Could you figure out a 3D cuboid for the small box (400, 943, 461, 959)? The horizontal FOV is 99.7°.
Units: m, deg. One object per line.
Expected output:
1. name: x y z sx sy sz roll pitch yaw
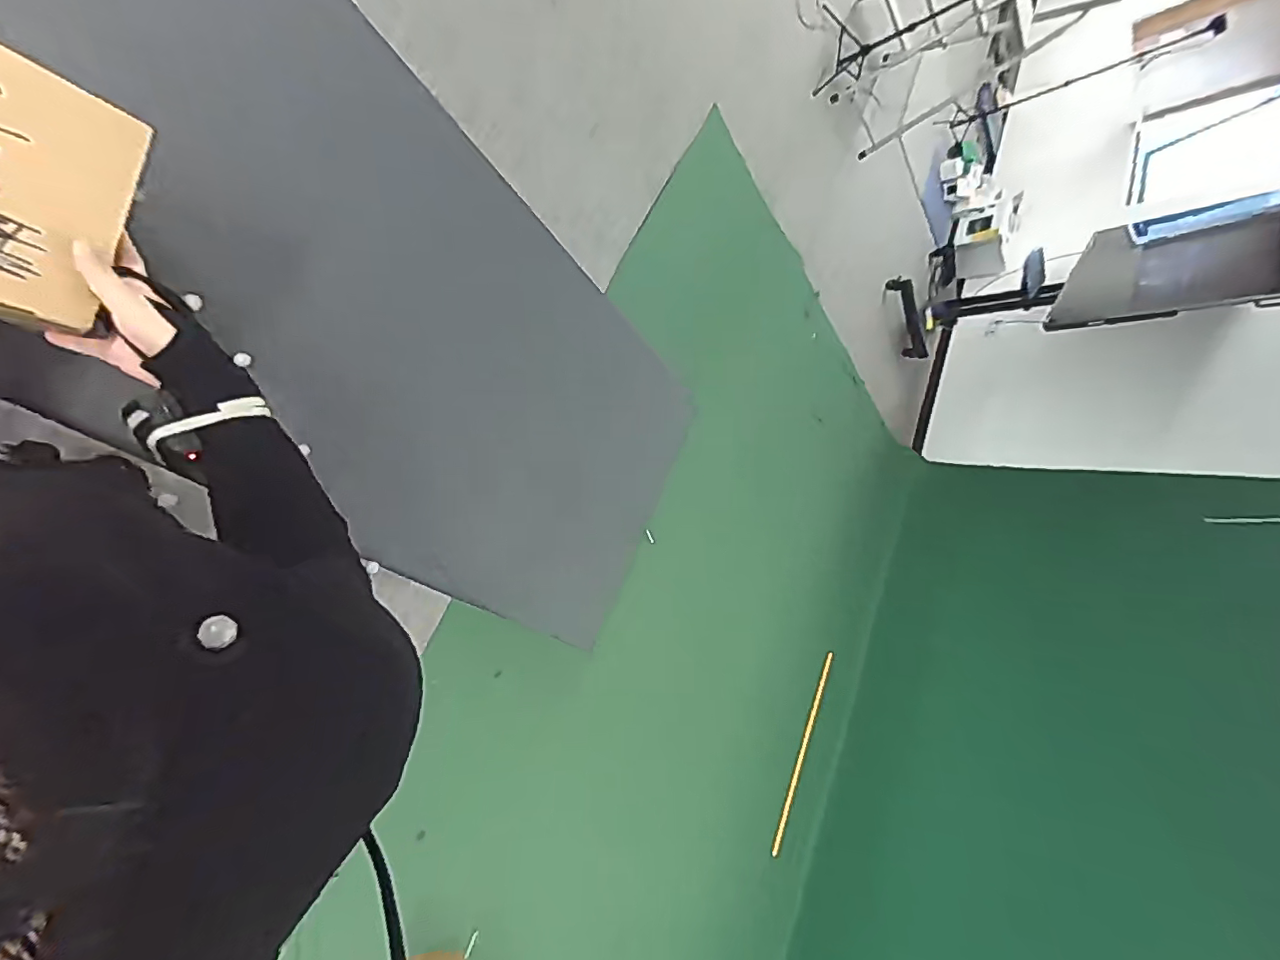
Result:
1. small box: -0.642 1.532 1.616 0.179 0.176 0.168 41 66 -41
